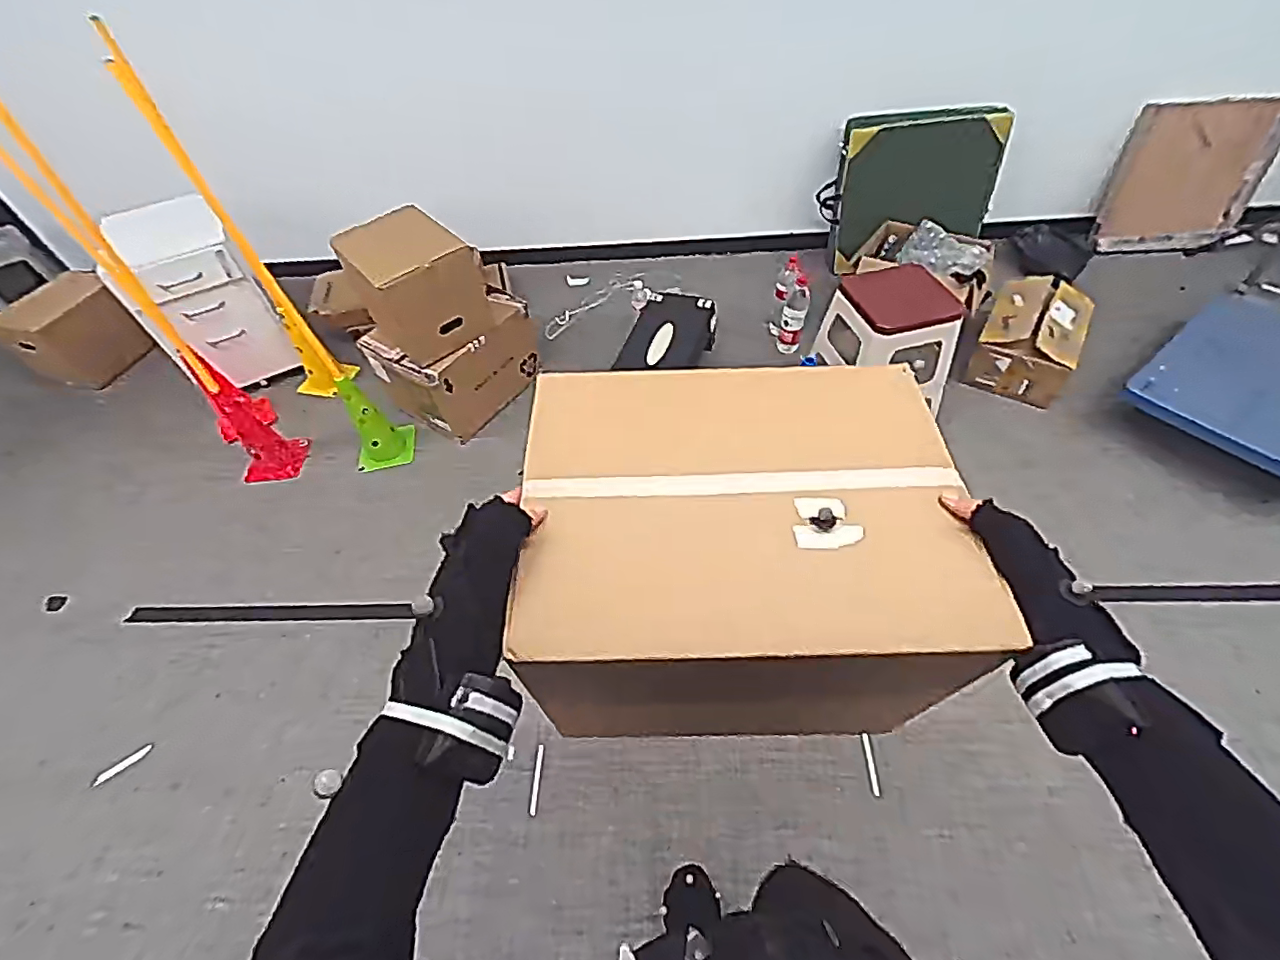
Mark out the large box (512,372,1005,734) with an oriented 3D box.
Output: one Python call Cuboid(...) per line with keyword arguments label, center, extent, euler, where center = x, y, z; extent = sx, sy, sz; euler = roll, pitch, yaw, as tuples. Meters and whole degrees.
Cuboid(label="large box", center=(0.092, 0.096, 0.635), extent=(0.408, 0.320, 0.320), euler=(-1, 55, 1))
